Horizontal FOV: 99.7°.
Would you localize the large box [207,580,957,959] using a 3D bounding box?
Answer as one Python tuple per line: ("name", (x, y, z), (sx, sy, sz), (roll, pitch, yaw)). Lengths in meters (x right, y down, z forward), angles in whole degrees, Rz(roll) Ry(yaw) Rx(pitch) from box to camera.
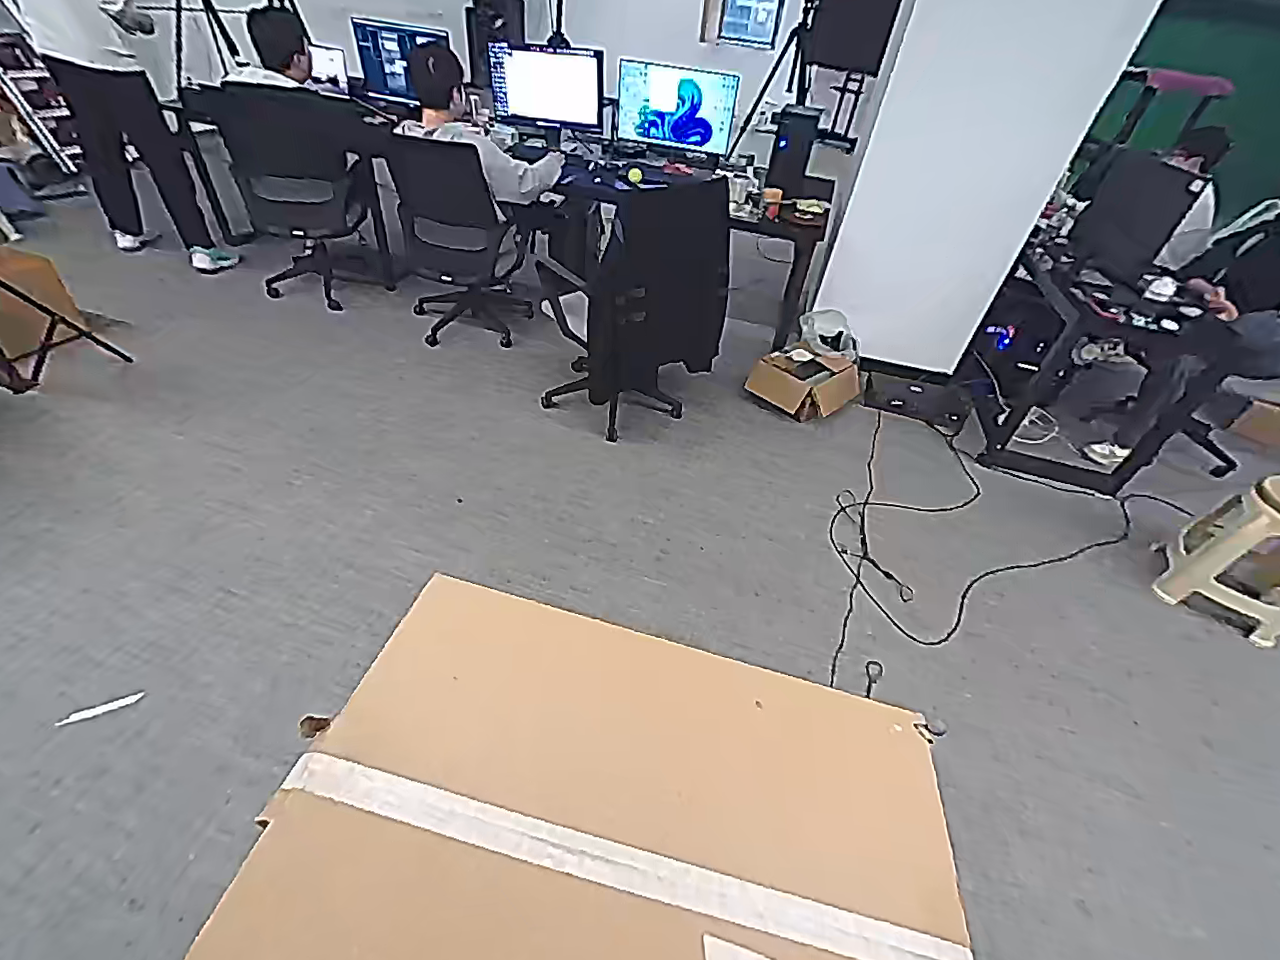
("large box", (-0.032, 0.337, 0.424), (0.408, 0.320, 0.320), (16, 42, 1))
